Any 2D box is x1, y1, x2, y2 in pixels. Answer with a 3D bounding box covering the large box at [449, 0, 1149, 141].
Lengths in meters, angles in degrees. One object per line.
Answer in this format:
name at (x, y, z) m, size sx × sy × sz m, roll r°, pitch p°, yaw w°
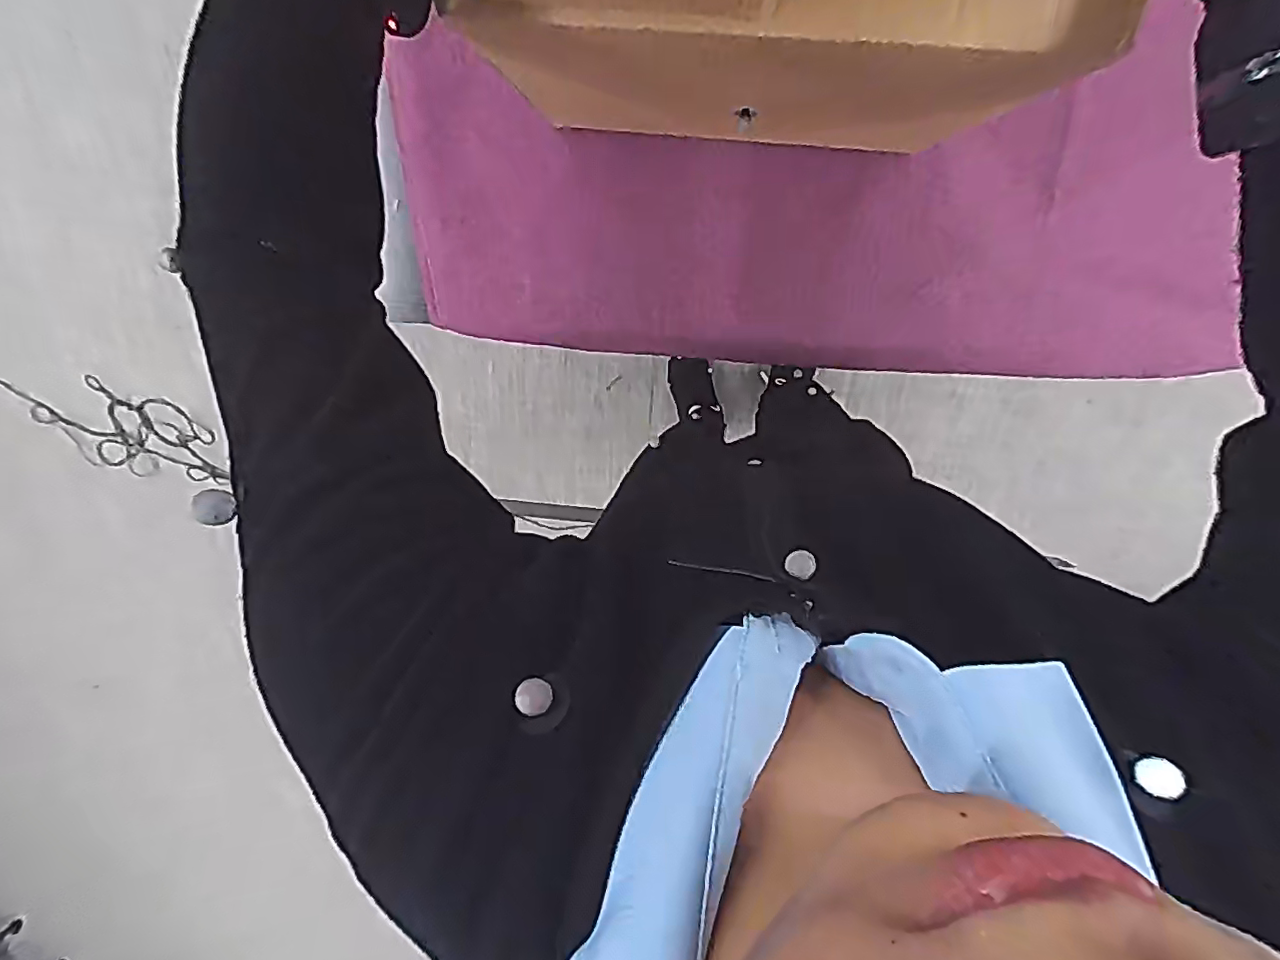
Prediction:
large box at (0.105, -0.458, 0.395) m, size 0.408 × 0.320 × 0.320 m, roll 6°, pitch 111°, yaw 4°
